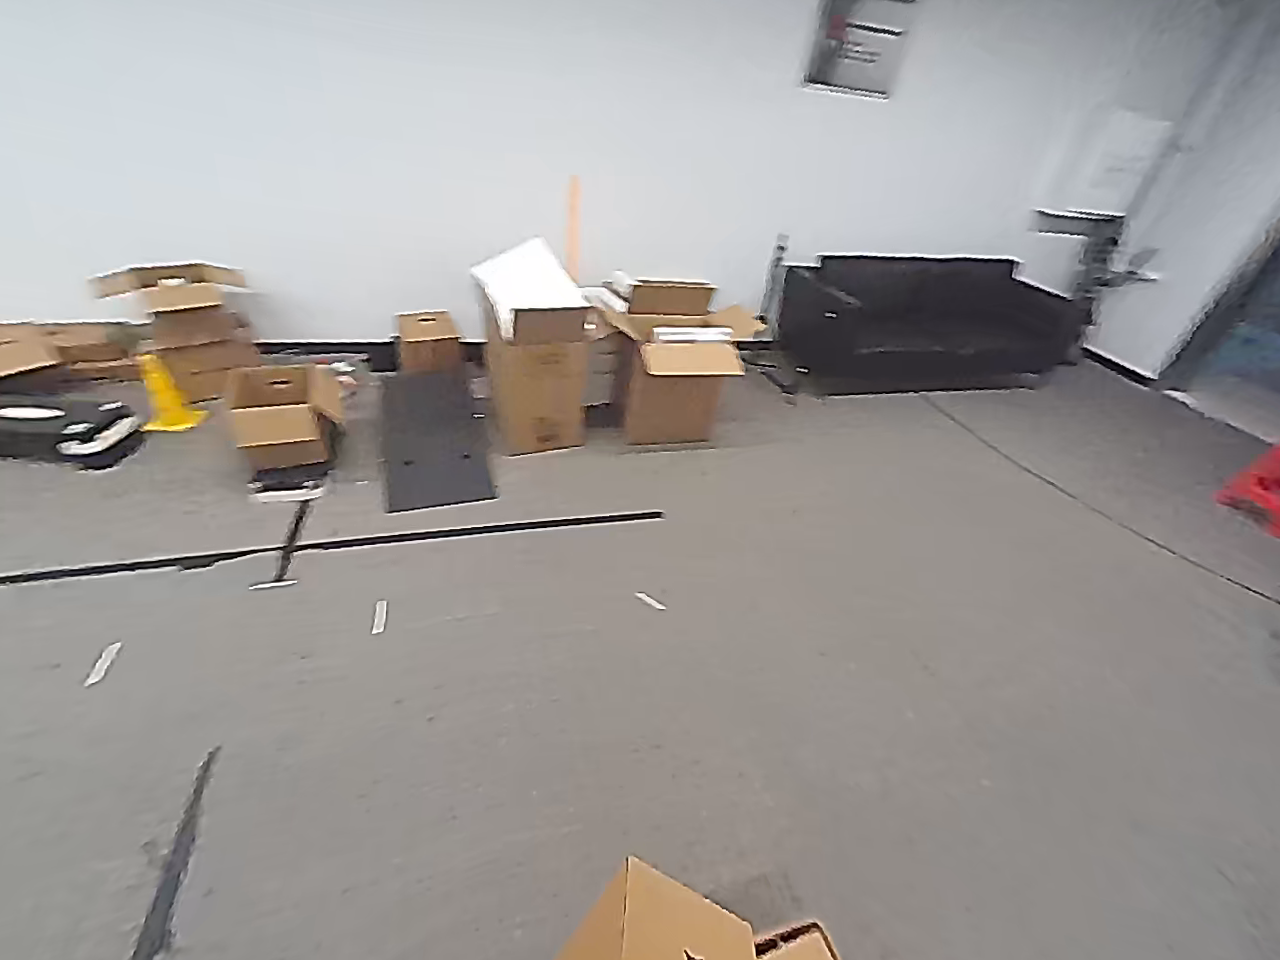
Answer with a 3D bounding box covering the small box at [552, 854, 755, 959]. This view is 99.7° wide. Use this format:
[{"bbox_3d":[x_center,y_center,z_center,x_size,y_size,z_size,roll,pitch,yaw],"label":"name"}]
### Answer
[{"bbox_3d":[0.005,0.530,0.524,0.168,0.176,0.179,31,9,-4],"label":"small box"}]
